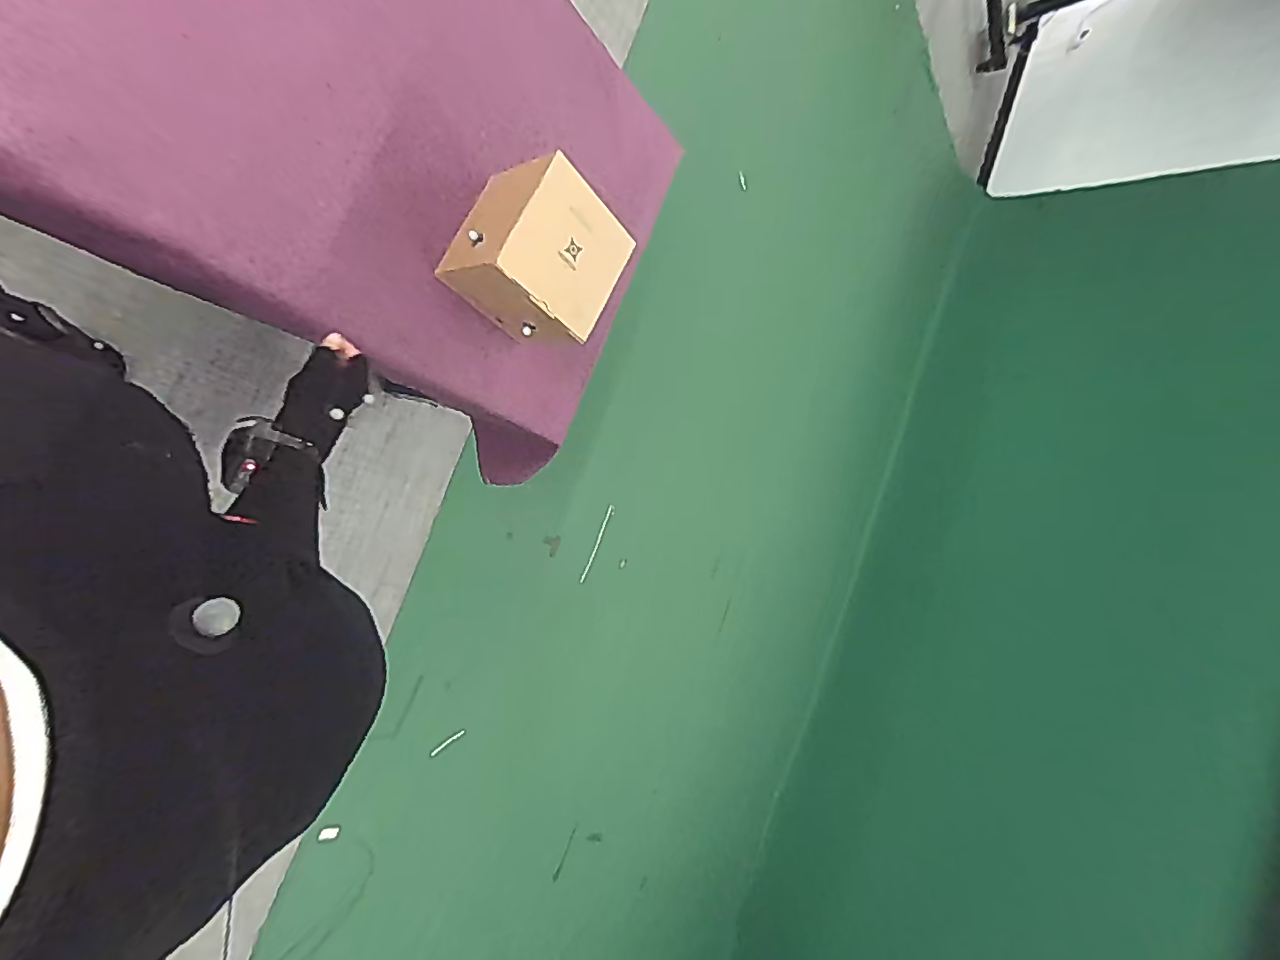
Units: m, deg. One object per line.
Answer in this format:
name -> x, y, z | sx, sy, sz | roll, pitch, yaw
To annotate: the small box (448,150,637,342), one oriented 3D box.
small box -> -0.142, -0.313, 0.762 | 0.168, 0.176, 0.179 | 36, 75, -44
